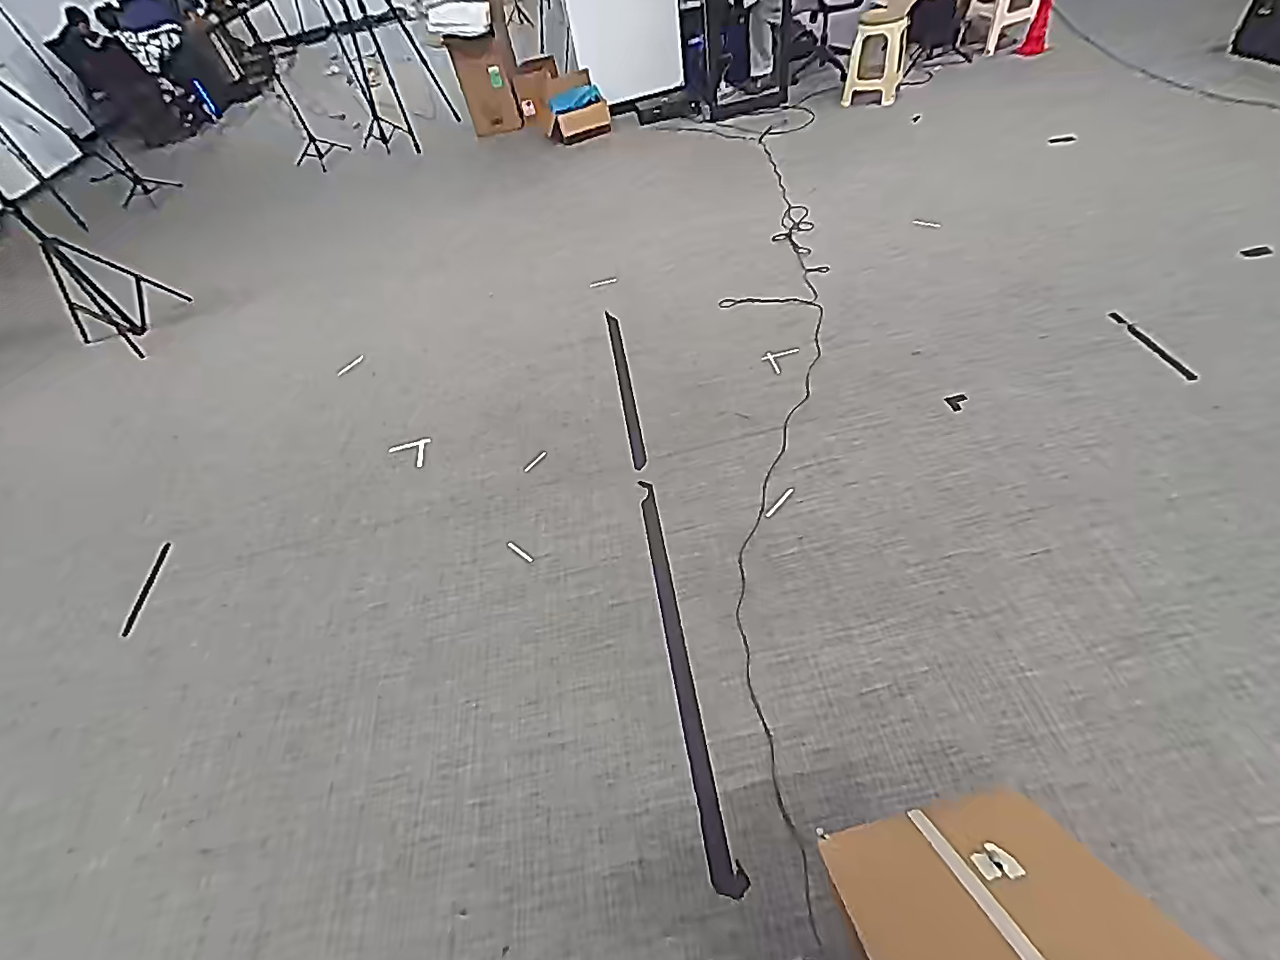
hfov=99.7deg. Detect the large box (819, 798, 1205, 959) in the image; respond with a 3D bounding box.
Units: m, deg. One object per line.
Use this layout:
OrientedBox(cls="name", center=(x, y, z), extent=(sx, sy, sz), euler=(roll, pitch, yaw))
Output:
OrientedBox(cls="large box", center=(0.463, 0.669, 0.632), extent=(0.320, 0.408, 0.320), euler=(-15, 88, 0))
